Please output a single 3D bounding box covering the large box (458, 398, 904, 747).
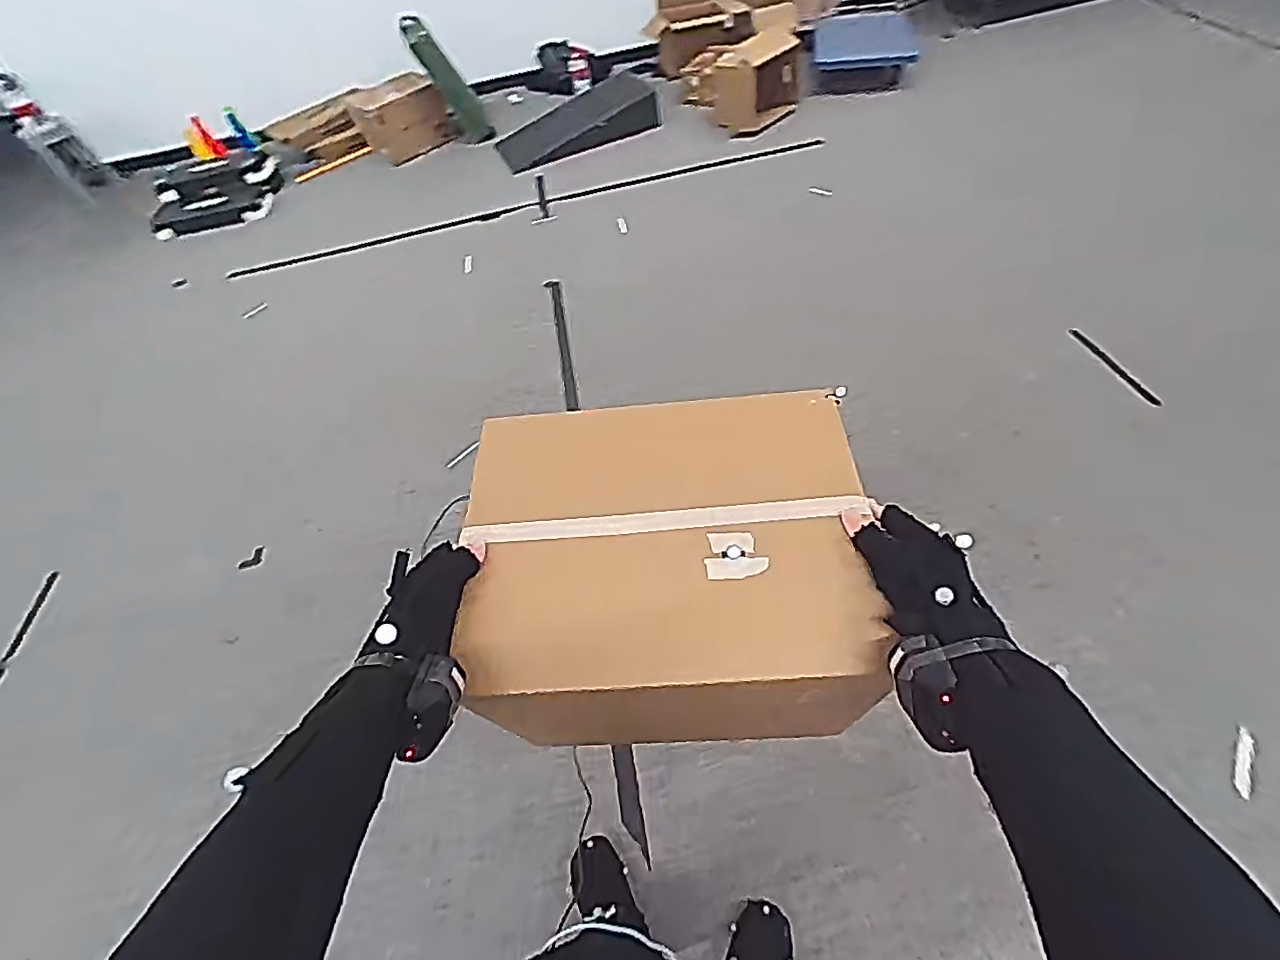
[{"bbox_3d":[0.037,0.130,0.677,0.408,0.320,0.320,-5,56,3],"label":"large box"}]
